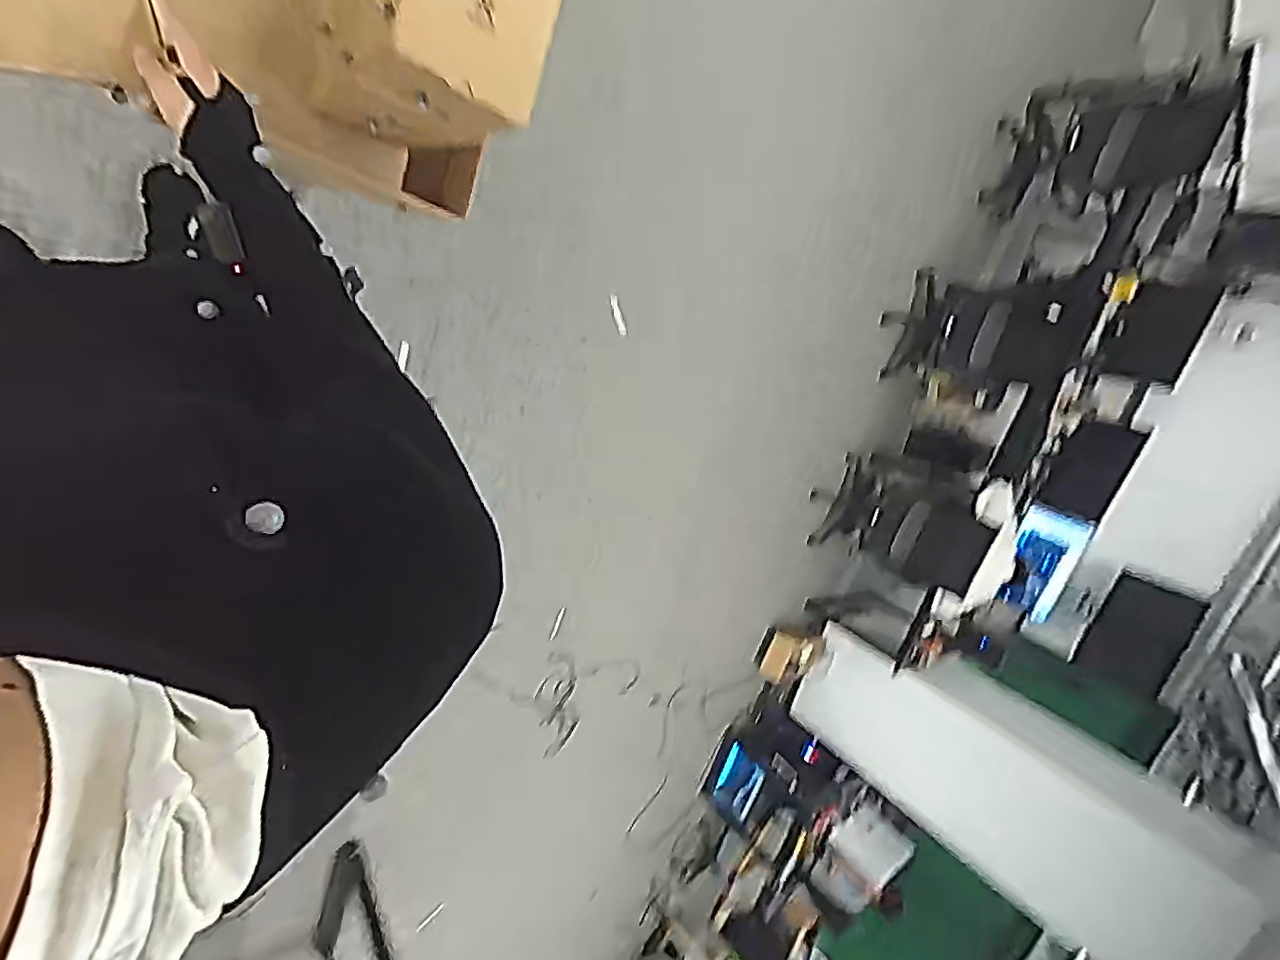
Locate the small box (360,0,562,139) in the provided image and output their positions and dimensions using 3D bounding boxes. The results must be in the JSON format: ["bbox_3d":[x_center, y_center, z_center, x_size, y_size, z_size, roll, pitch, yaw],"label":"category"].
[{"bbox_3d":[-0.223,-0.549,0.659,0.168,0.176,0.179,6,109,-43],"label":"small box"}]

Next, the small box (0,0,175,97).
[{"bbox_3d":[-0.542,-0.440,0.461,0.179,0.176,0.168,-19,129,-35],"label":"small box"}]
